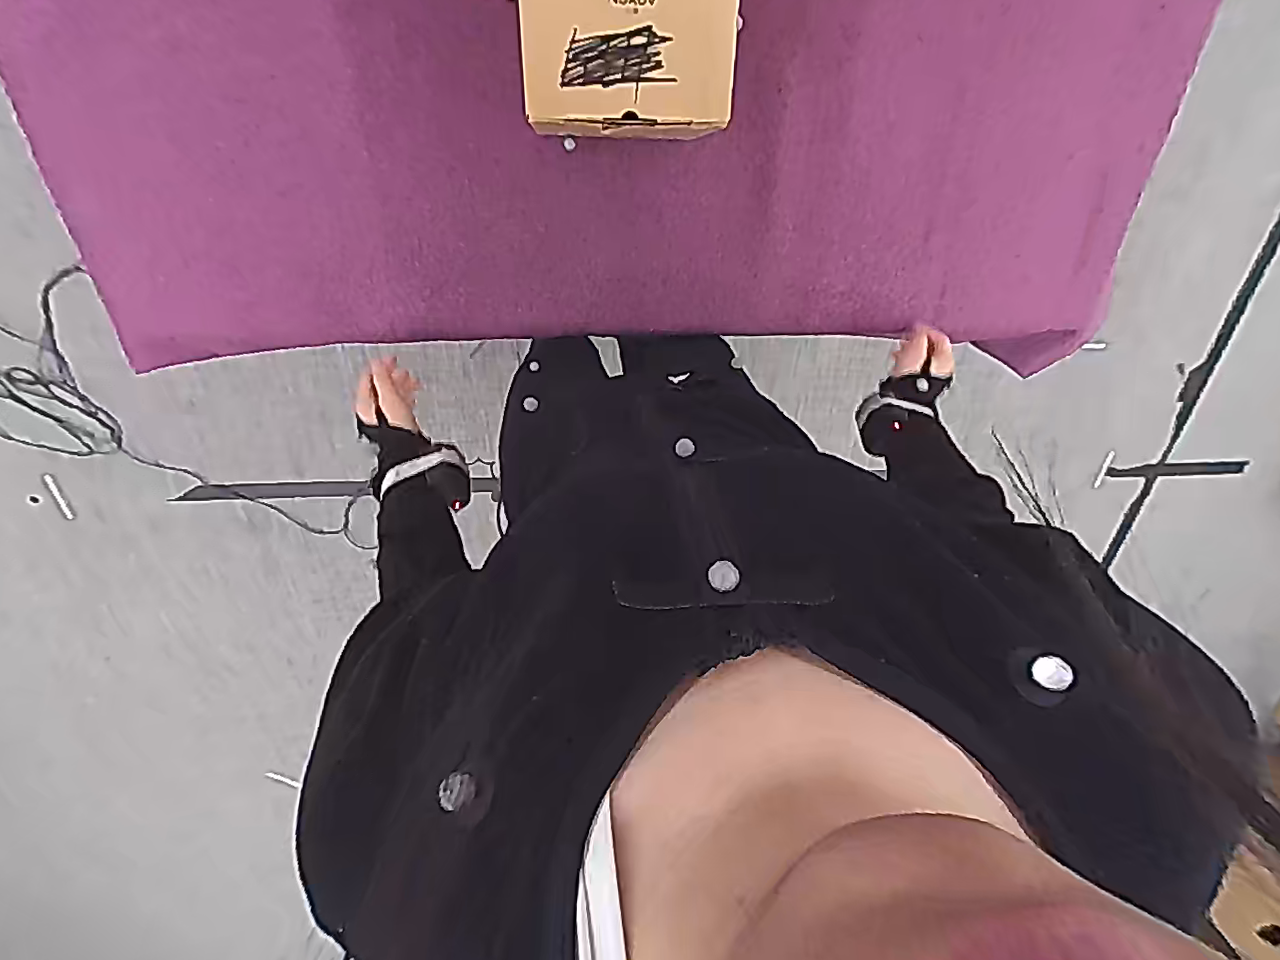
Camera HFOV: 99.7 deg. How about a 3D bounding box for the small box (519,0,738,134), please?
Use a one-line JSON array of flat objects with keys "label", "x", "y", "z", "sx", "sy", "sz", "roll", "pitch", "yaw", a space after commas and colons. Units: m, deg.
[{"label": "small box", "x": -0.014, "y": -0.406, "z": 0.463, "sx": 0.168, "sy": 0.176, "sz": 0.179, "roll": -2, "pitch": 119, "yaw": -6}]
